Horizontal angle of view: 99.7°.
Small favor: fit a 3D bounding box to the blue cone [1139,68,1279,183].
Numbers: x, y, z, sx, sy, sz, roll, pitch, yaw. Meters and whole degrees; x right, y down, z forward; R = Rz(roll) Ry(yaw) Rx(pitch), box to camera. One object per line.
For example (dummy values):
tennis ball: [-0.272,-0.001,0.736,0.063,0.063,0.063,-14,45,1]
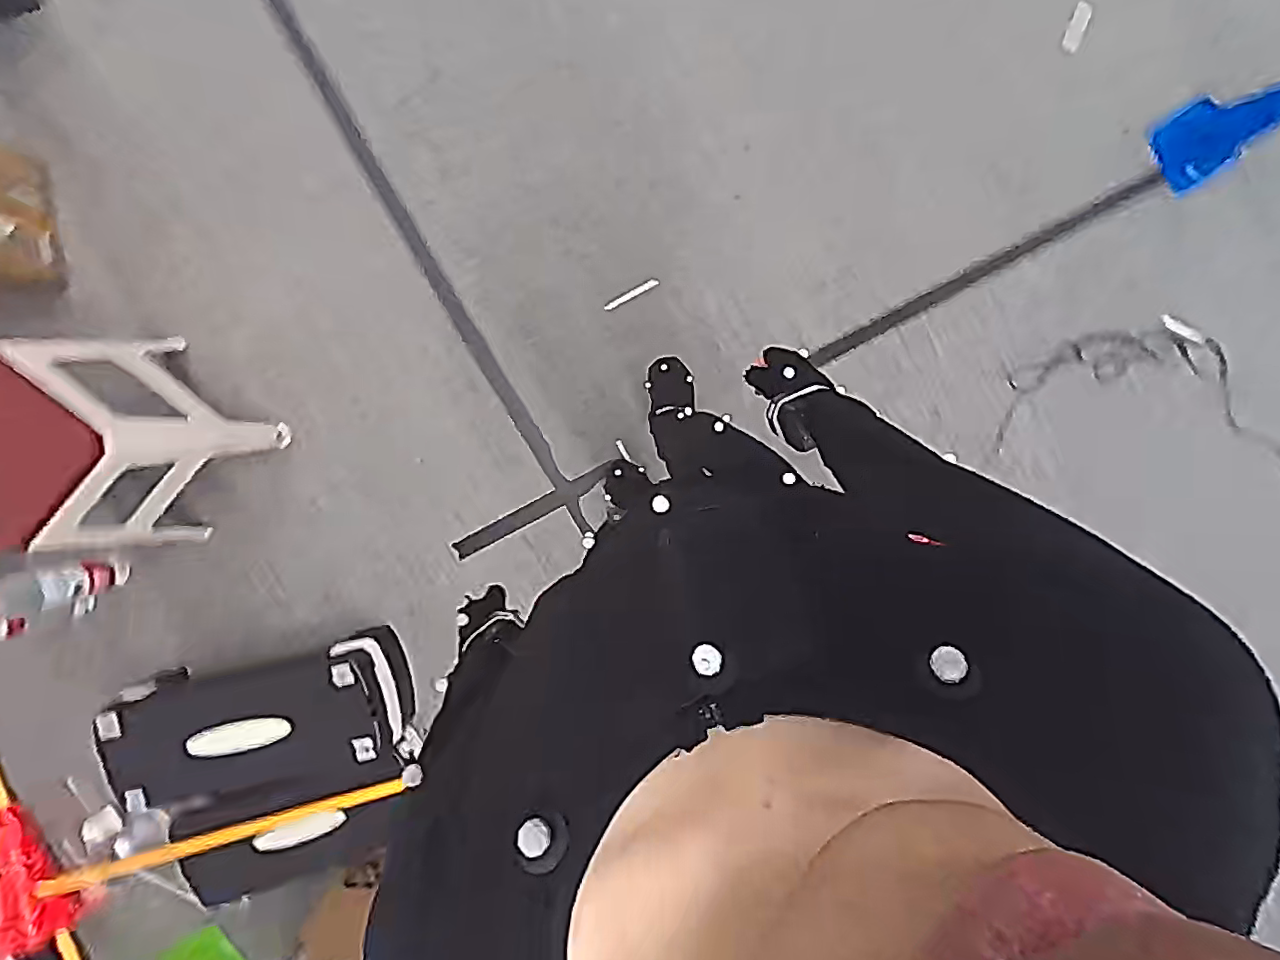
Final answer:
blue cone: [1.467,-0.907,1.296,0.193,0.380,0.192,-33,96,0]
